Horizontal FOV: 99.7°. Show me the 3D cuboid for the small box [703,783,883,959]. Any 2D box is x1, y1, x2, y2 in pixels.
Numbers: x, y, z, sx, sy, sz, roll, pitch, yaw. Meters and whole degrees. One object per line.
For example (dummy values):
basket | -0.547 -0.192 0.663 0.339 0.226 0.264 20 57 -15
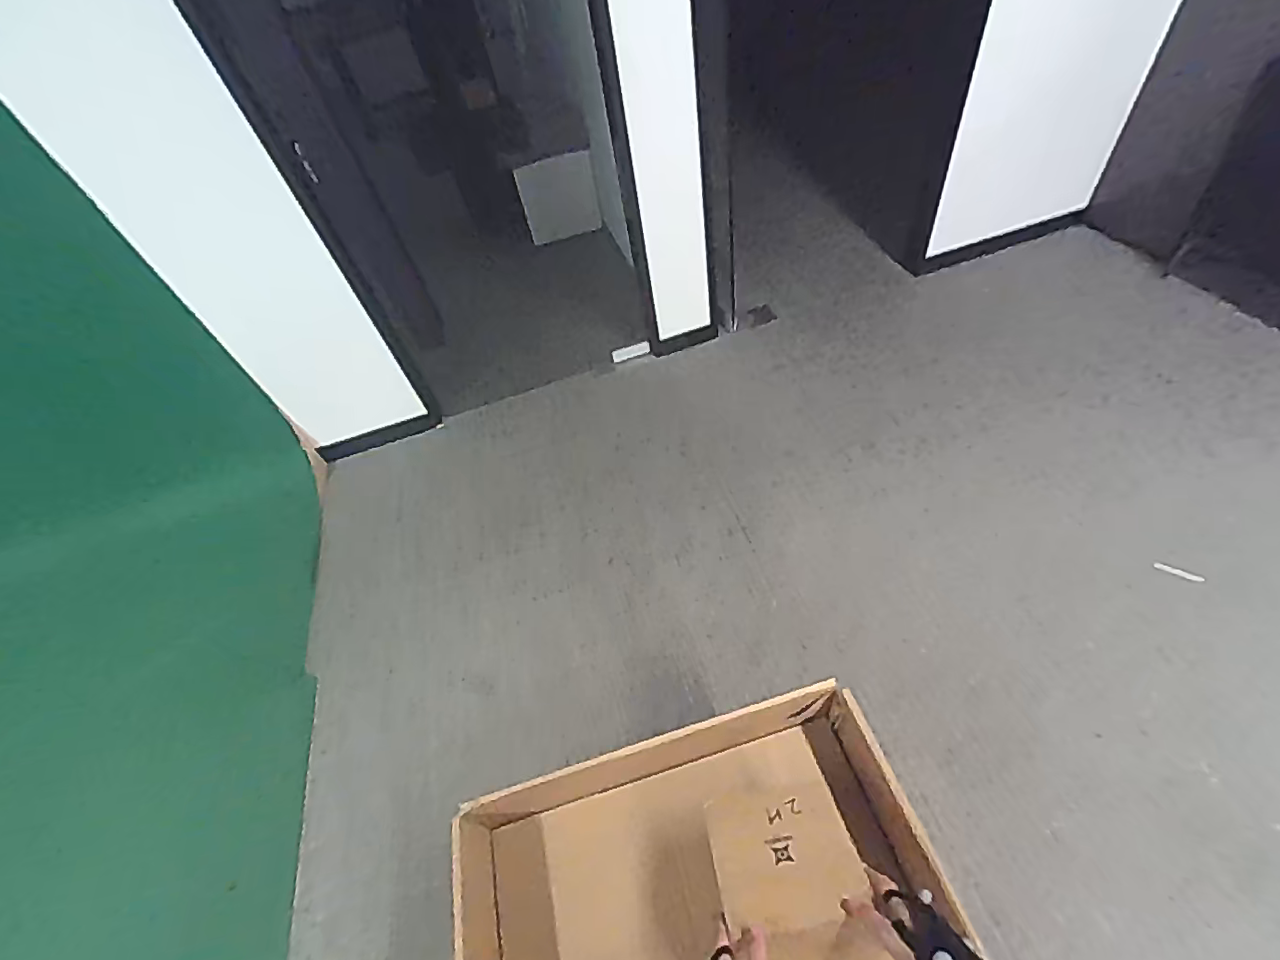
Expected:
small box | 0.179 0.511 0.649 0.168 0.176 0.179 -10 13 1
